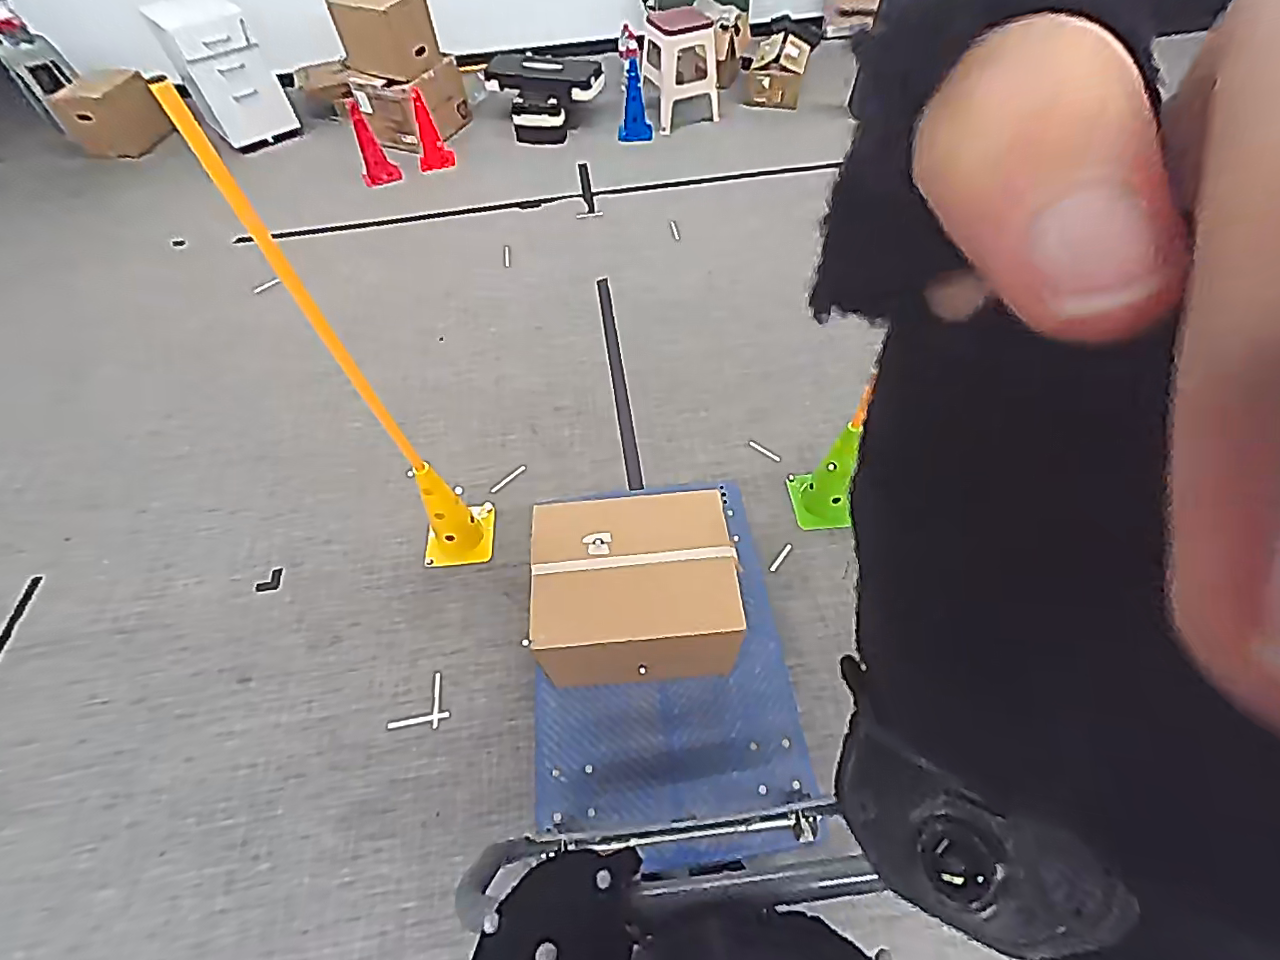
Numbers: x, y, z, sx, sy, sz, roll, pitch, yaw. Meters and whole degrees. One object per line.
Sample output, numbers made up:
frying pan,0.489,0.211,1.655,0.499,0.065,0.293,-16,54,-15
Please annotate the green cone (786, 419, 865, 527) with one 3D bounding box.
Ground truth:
green cone,0.571,-0.039,1.562,0.202,0.368,0.200,-5,55,-2

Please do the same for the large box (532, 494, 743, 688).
large box,-0.008,0.258,1.214,0.408,0.320,0.320,-6,55,0
